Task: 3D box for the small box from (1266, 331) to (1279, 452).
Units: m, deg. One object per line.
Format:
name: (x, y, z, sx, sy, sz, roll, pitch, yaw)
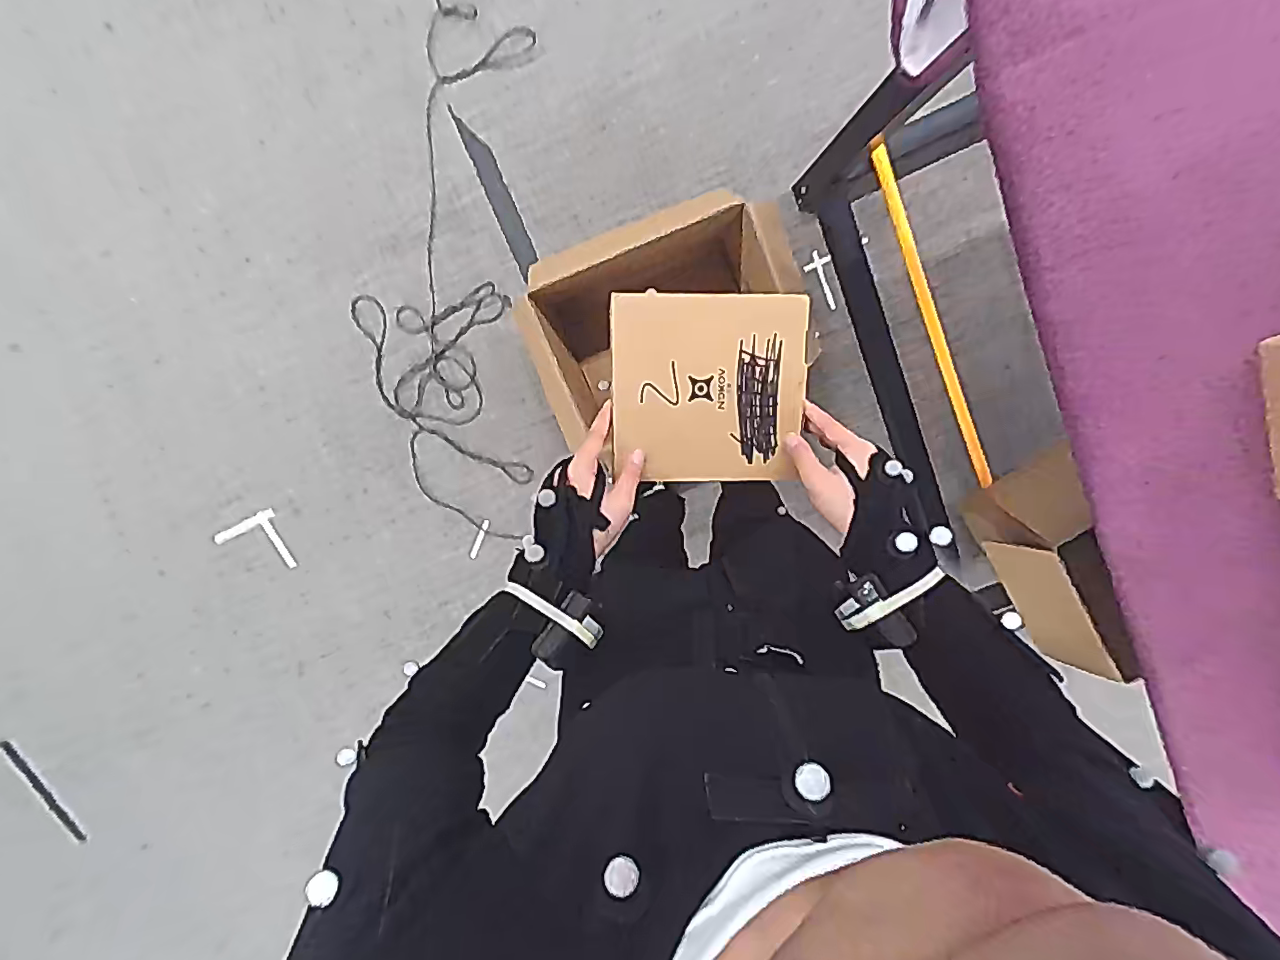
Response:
small box: (0.724, -0.072, 0.469, 0.168, 0.176, 0.179, -20, 100, 5)
